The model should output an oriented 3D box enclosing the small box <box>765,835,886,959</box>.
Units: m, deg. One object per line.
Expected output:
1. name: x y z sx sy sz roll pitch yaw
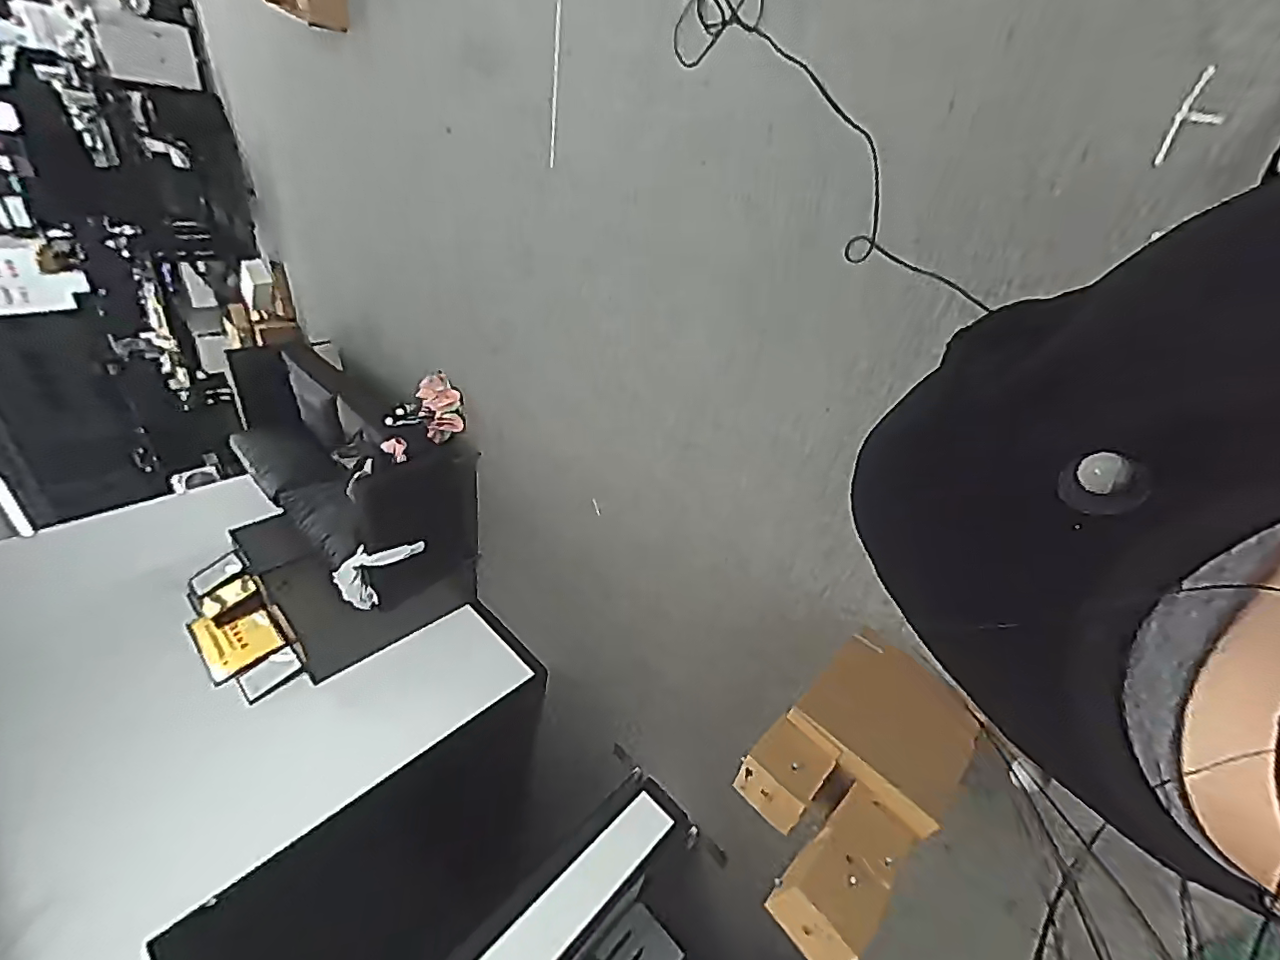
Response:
1. small box: 0.425 0.963 1.235 0.168 0.176 0.179 42 133 25
